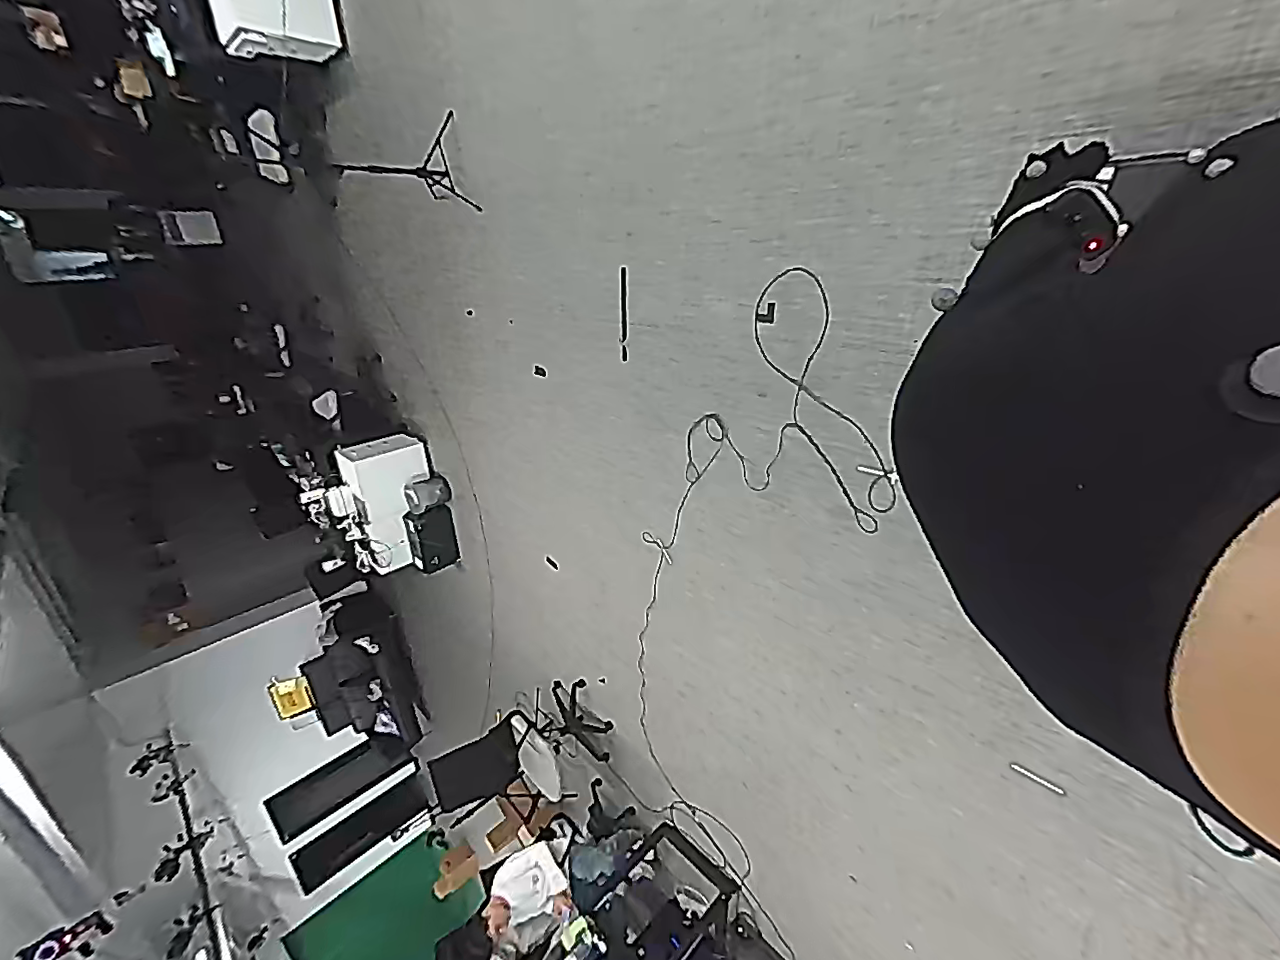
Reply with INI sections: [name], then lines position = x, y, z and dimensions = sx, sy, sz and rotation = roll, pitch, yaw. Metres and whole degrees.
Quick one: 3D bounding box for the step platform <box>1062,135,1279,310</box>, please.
[step platform]
position = 1.184, -0.456, 0.958
dimensions = 0.684, 0.204, 0.286
rotation = 19, 122, 41
